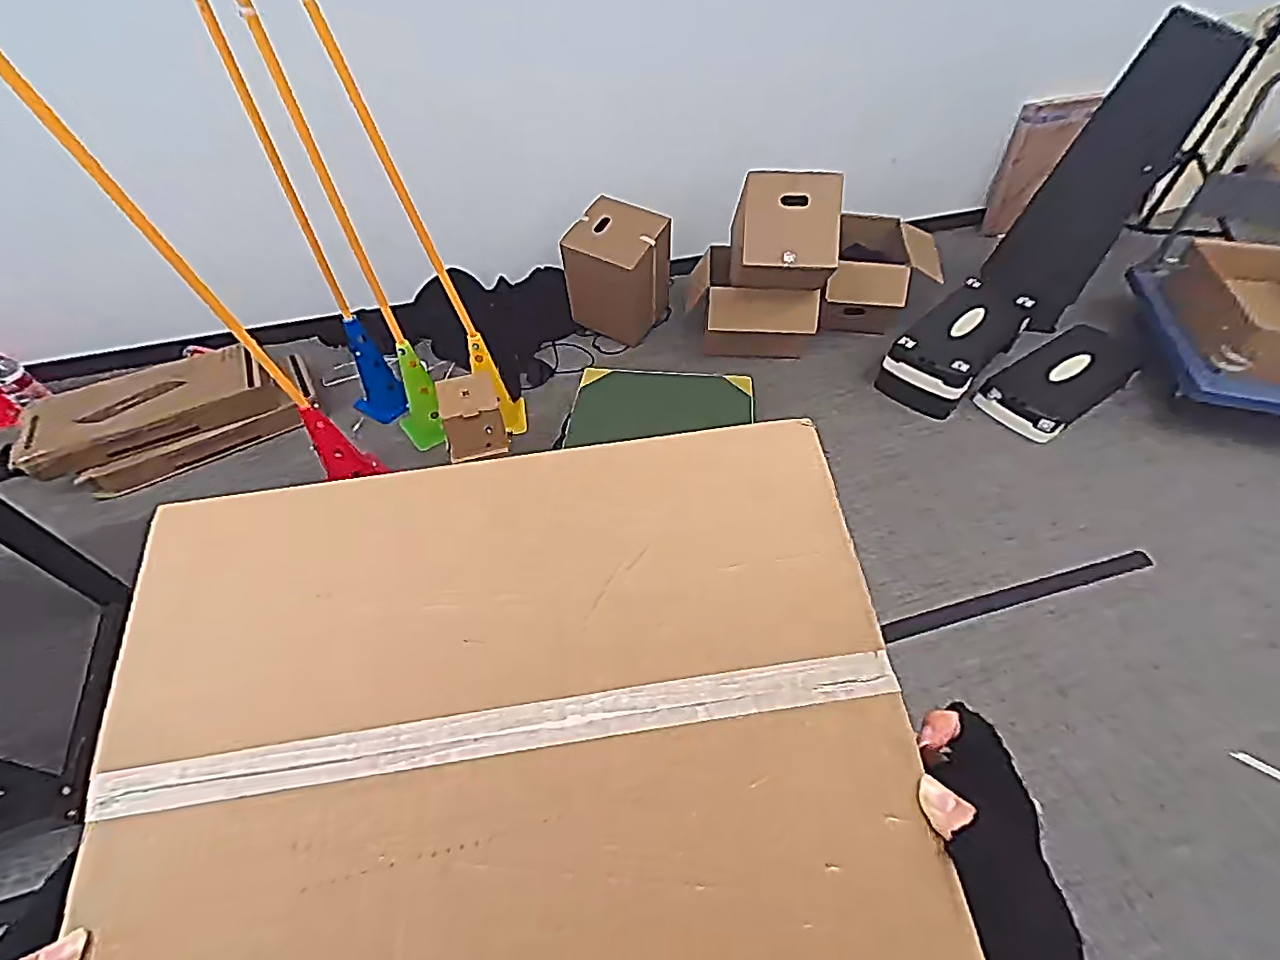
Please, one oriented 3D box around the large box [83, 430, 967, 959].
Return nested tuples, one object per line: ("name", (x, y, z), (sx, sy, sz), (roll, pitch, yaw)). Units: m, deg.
("large box", (-0.066, 0.195, 0.420), (0.408, 0.320, 0.320), (-8, 66, -2))
